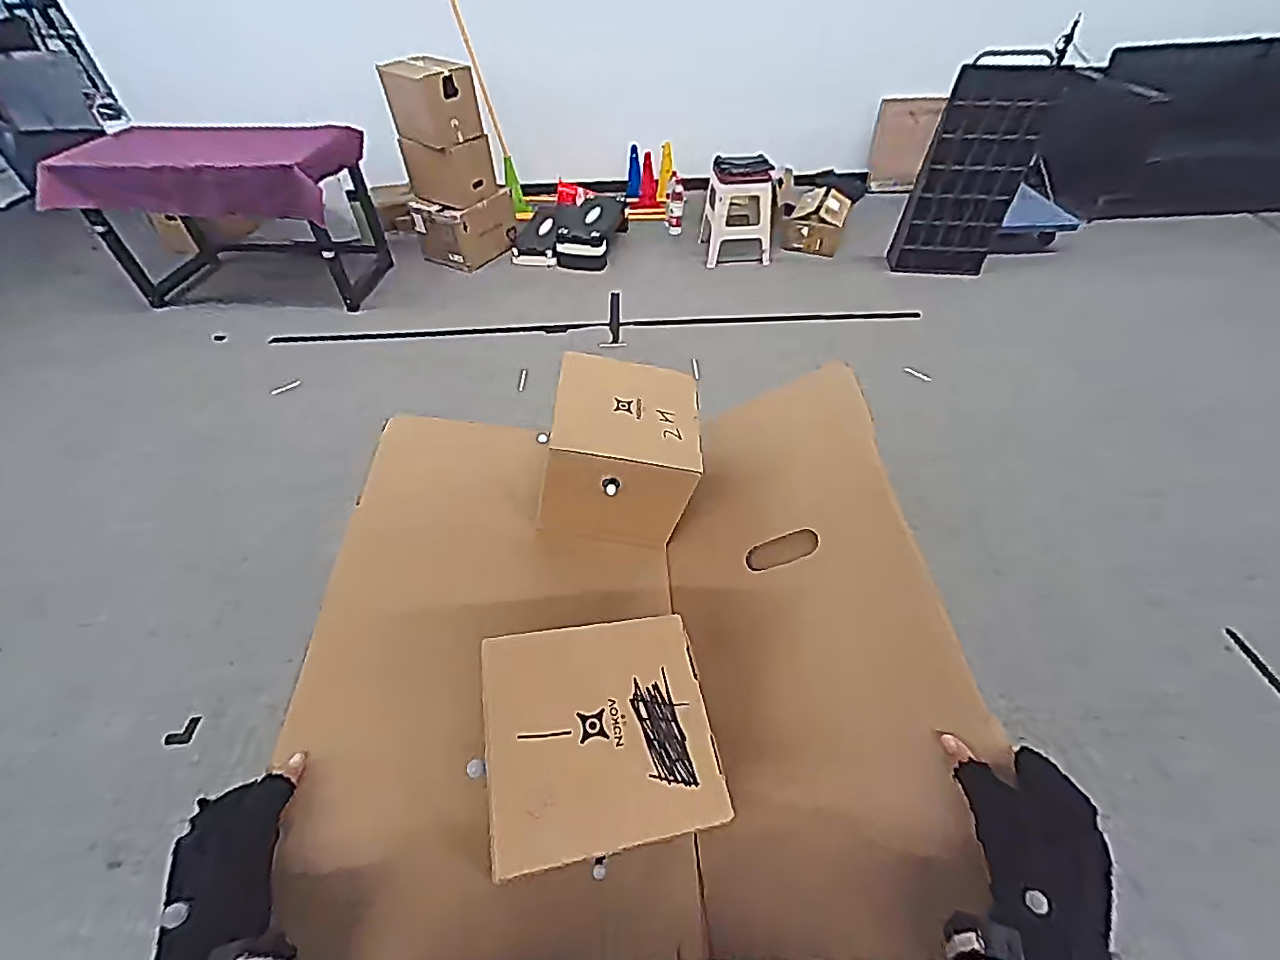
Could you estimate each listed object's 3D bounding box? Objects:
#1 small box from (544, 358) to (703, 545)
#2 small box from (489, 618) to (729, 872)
[{"bbox_3d":[-0.026,-0.030,0.715,0.179,0.176,0.168,10,51,-9],"label":"small box"},{"bbox_3d":[-0.045,0.243,0.497,0.179,0.176,0.168,-2,54,-17],"label":"small box"}]
